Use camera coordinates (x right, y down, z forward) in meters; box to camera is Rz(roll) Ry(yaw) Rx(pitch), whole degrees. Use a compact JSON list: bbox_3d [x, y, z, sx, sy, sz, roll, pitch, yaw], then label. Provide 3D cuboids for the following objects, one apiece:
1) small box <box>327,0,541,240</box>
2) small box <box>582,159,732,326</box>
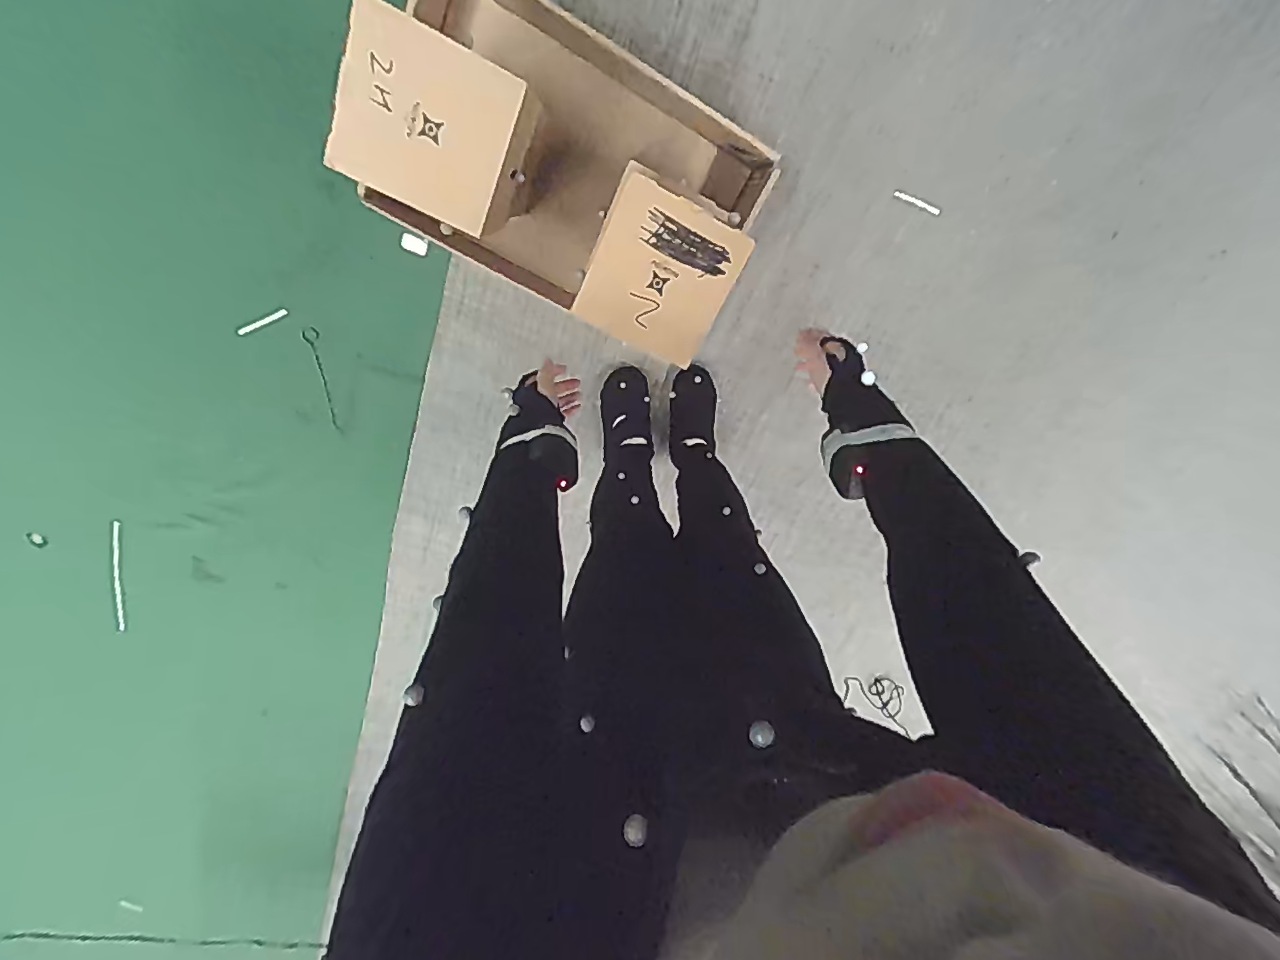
[{"bbox_3d":[-0.229,-0.410,0.640,0.179,0.176,0.168,22,114,-15],"label":"small box"},{"bbox_3d":[0.021,-0.371,0.856,0.168,0.176,0.179,23,112,-13],"label":"small box"}]
